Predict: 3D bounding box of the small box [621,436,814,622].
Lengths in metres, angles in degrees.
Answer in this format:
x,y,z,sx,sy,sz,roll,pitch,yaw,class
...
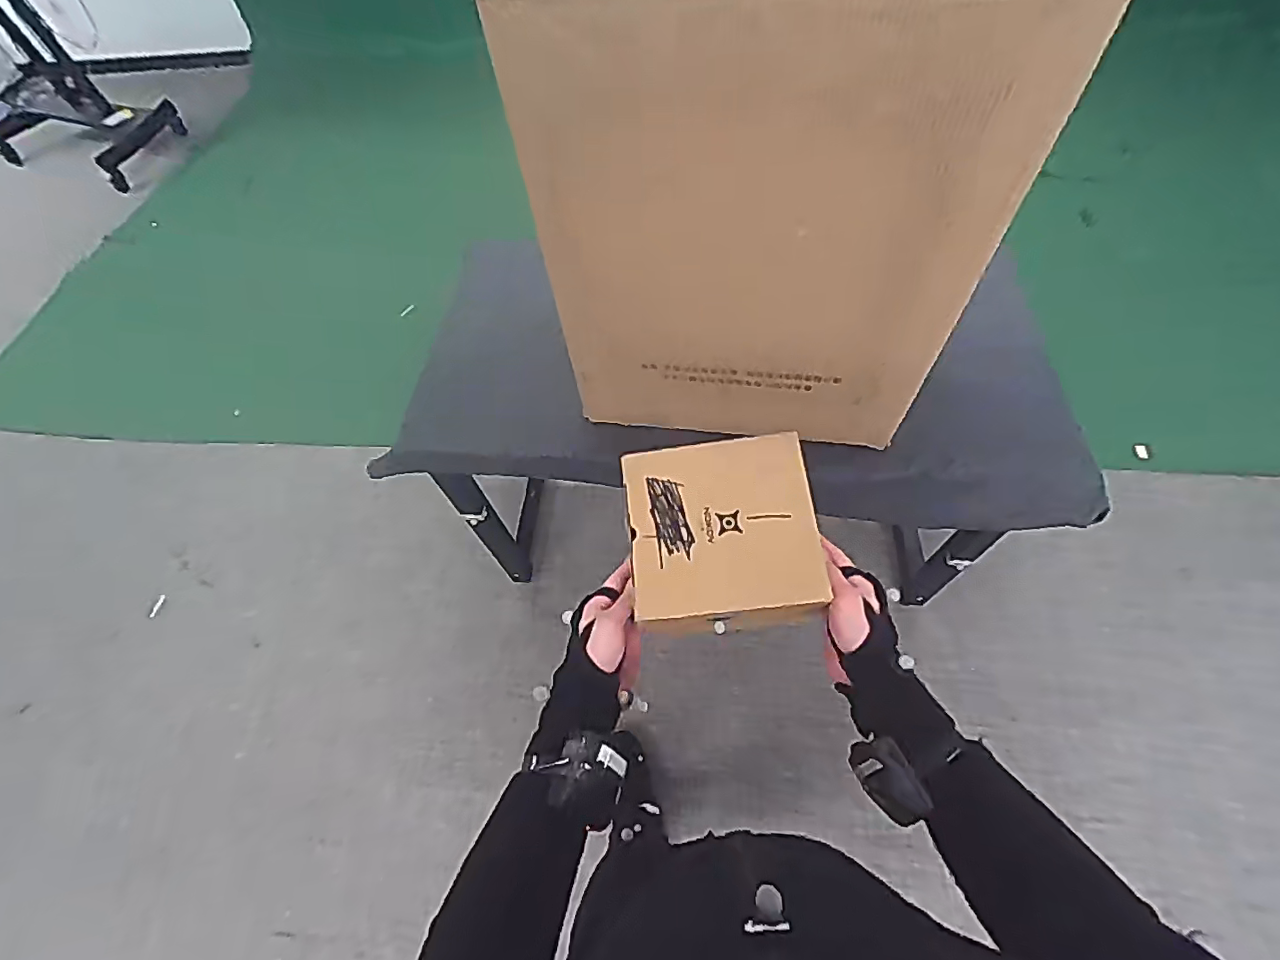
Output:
x,y,z,sx,sy,sz,roll,pitch,yaw,class
0.080,0.063,0.585,0.179,0.176,0.168,-3,72,7,small box
